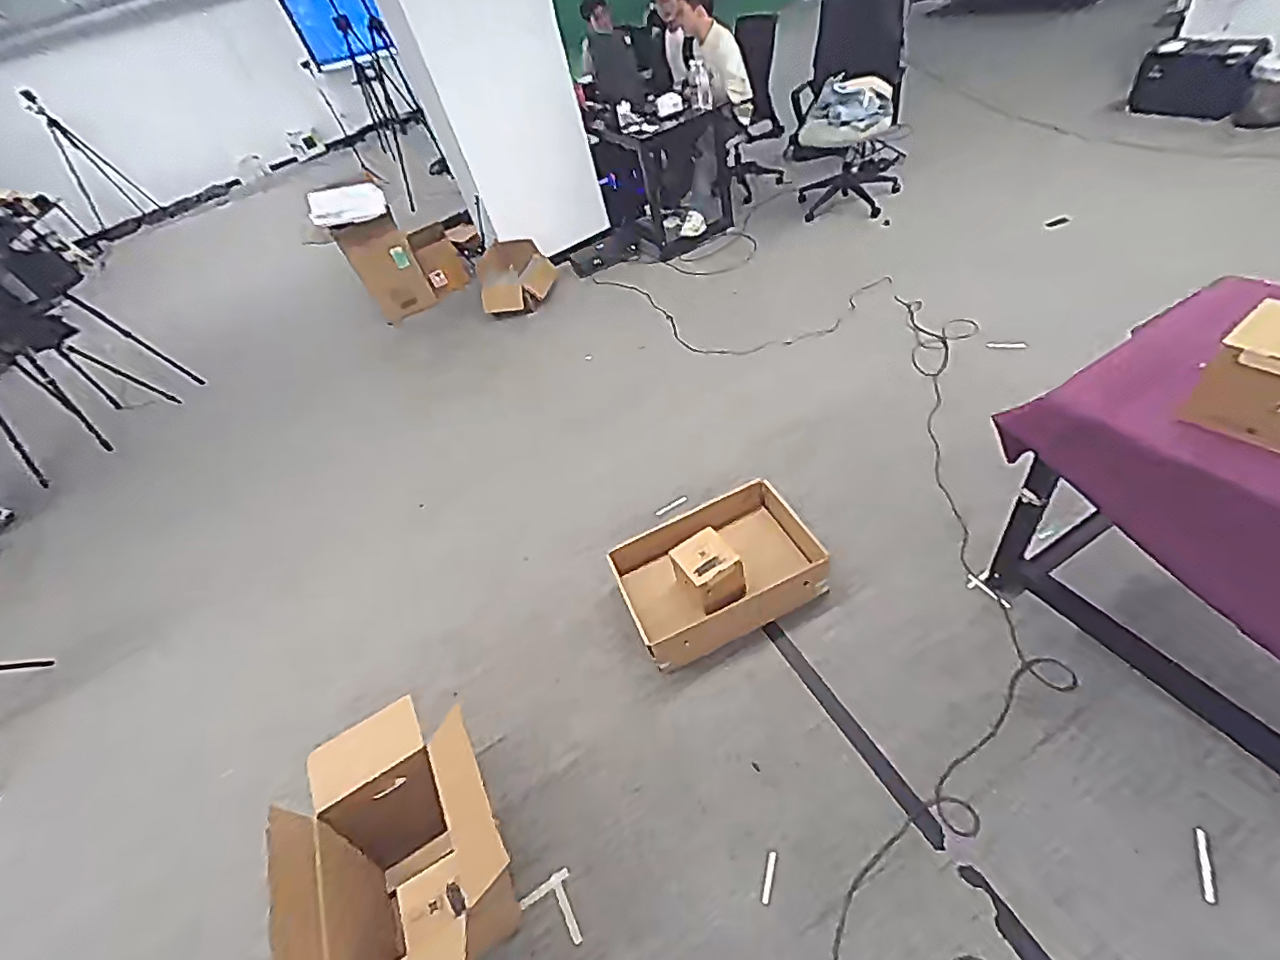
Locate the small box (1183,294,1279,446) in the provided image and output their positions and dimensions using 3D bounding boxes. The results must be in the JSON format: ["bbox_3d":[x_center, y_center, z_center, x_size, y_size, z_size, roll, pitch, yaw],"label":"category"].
[{"bbox_3d":[1.111,-0.188,0.940,0.179,0.176,0.168,-35,48,-16],"label":"small box"}]
